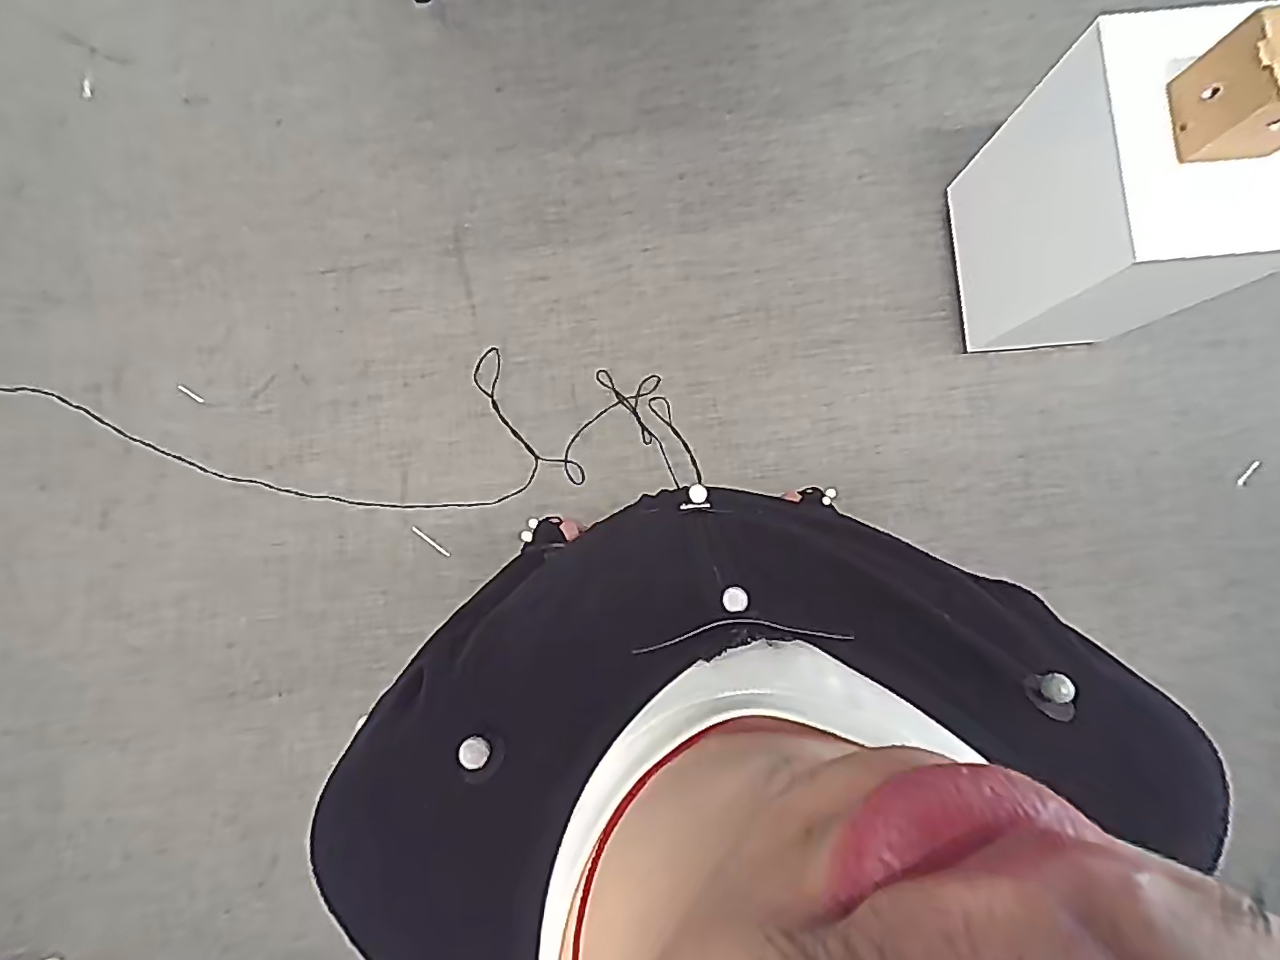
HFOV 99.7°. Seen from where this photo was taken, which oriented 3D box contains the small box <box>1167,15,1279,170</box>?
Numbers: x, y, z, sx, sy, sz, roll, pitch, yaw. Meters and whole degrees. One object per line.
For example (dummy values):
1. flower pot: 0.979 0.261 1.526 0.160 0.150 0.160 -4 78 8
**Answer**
1. small box: 1.114 -0.692 0.977 0.179 0.176 0.168 -7 84 0
